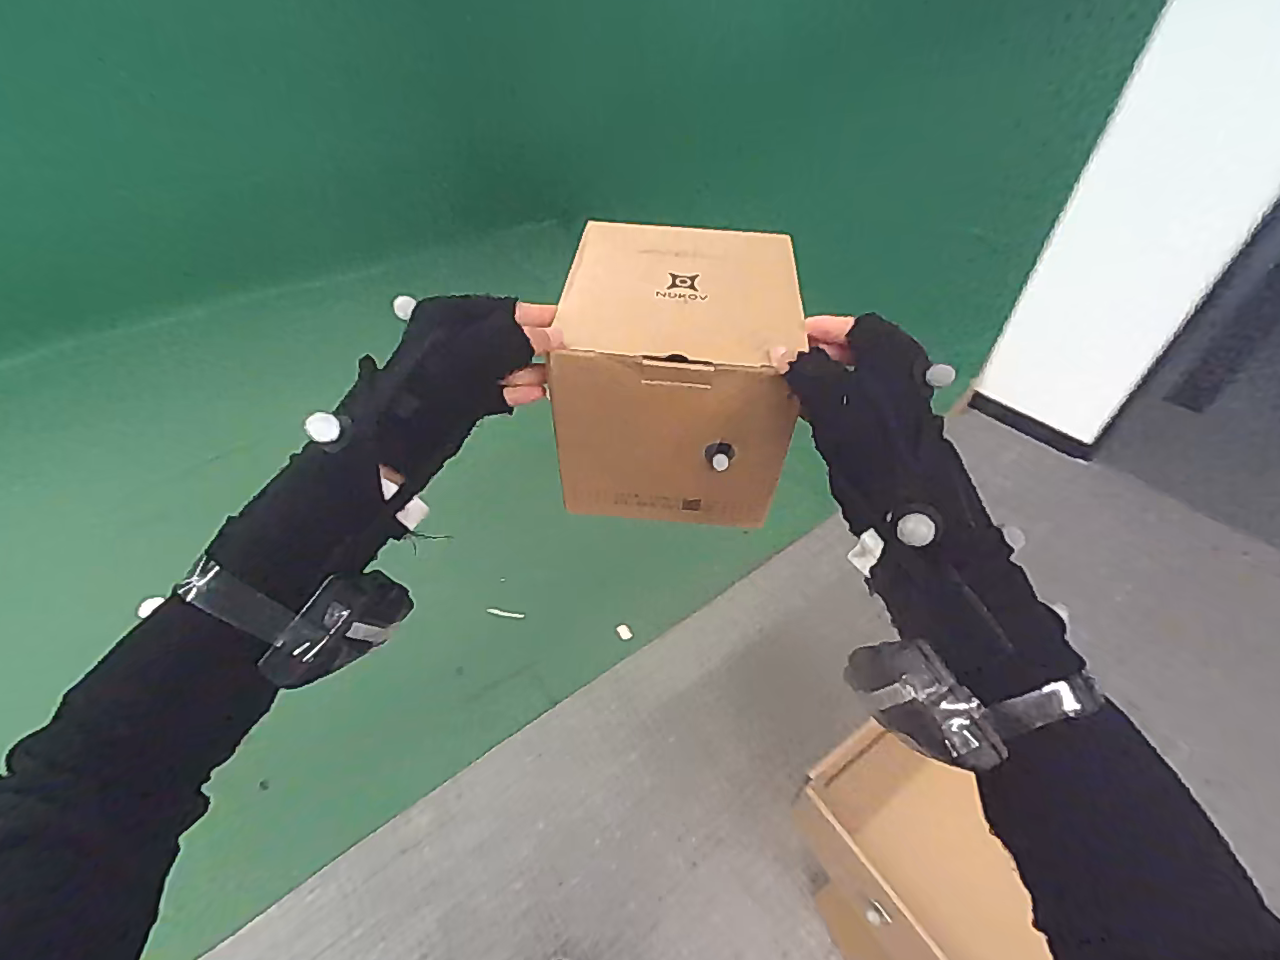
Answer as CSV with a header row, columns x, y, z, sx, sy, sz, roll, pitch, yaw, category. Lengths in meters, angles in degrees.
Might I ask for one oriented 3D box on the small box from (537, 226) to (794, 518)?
x,y,z,sx,sy,sz,roll,pitch,yaw,category
0.020,-0.086,0.450,0.168,0.176,0.179,5,49,1,small box
